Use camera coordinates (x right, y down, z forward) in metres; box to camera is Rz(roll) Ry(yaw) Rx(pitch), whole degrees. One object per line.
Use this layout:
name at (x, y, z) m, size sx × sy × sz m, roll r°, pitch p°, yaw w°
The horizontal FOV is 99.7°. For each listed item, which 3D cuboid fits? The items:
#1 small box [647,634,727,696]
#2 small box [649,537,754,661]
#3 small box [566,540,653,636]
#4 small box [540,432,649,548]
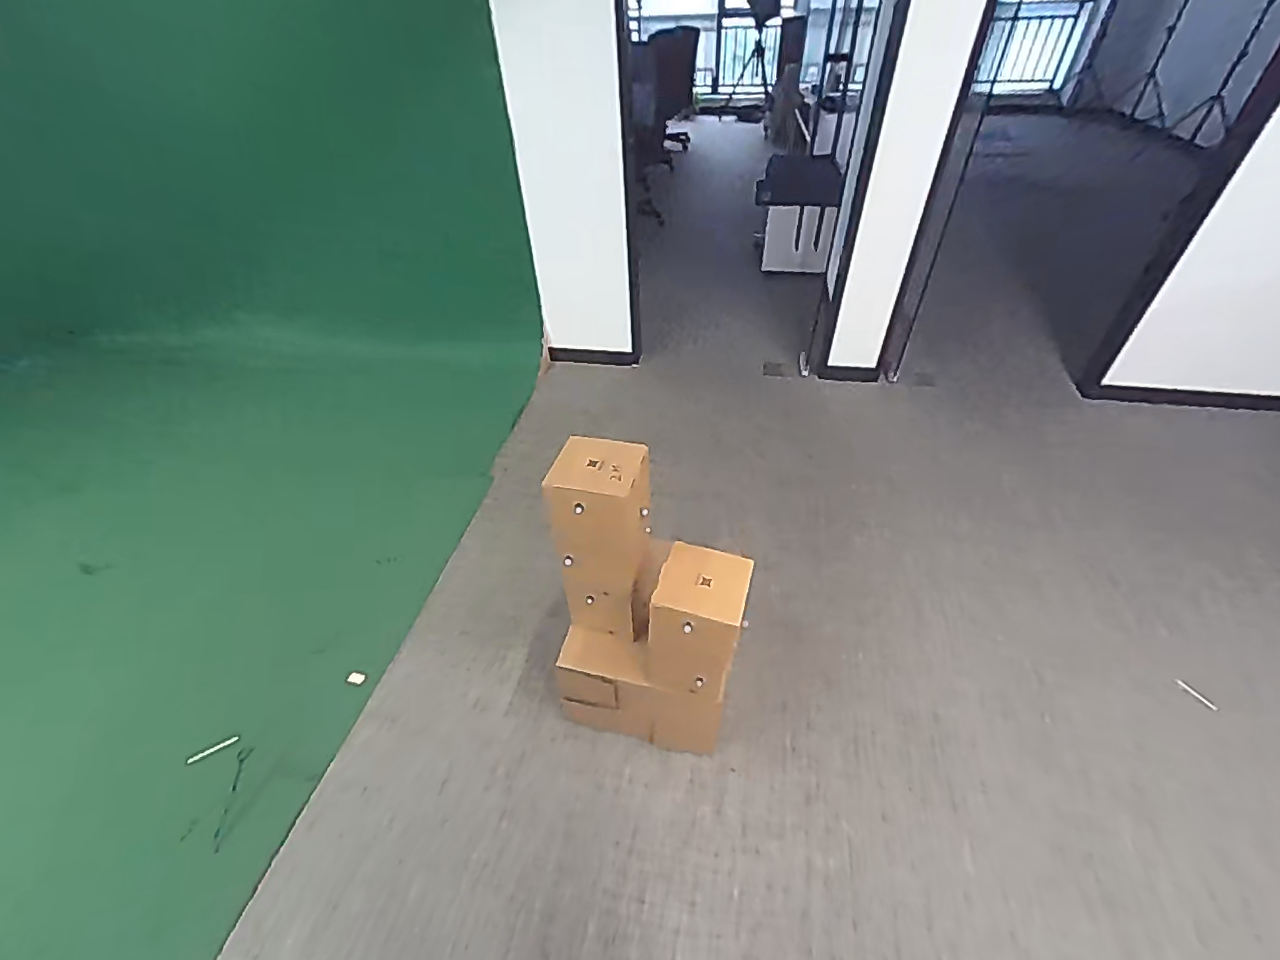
small box at (0.120, 0.362, 1.236) m, size 0.168 × 0.176 × 0.179 m, roll 12°, pitch 43°, yaw 13°
small box at (0.125, 0.249, 1.118) m, size 0.179 × 0.176 × 0.168 m, roll 12°, pitch 44°, yaw 14°
small box at (-0.071, 0.258, 1.358) m, size 0.168 × 0.176 × 0.179 m, roll 10°, pitch 43°, yaw 14°
small box at (-0.085, 0.022, 1.127) m, size 0.179 × 0.176 × 0.168 m, roll 9°, pitch 43°, yaw 13°
